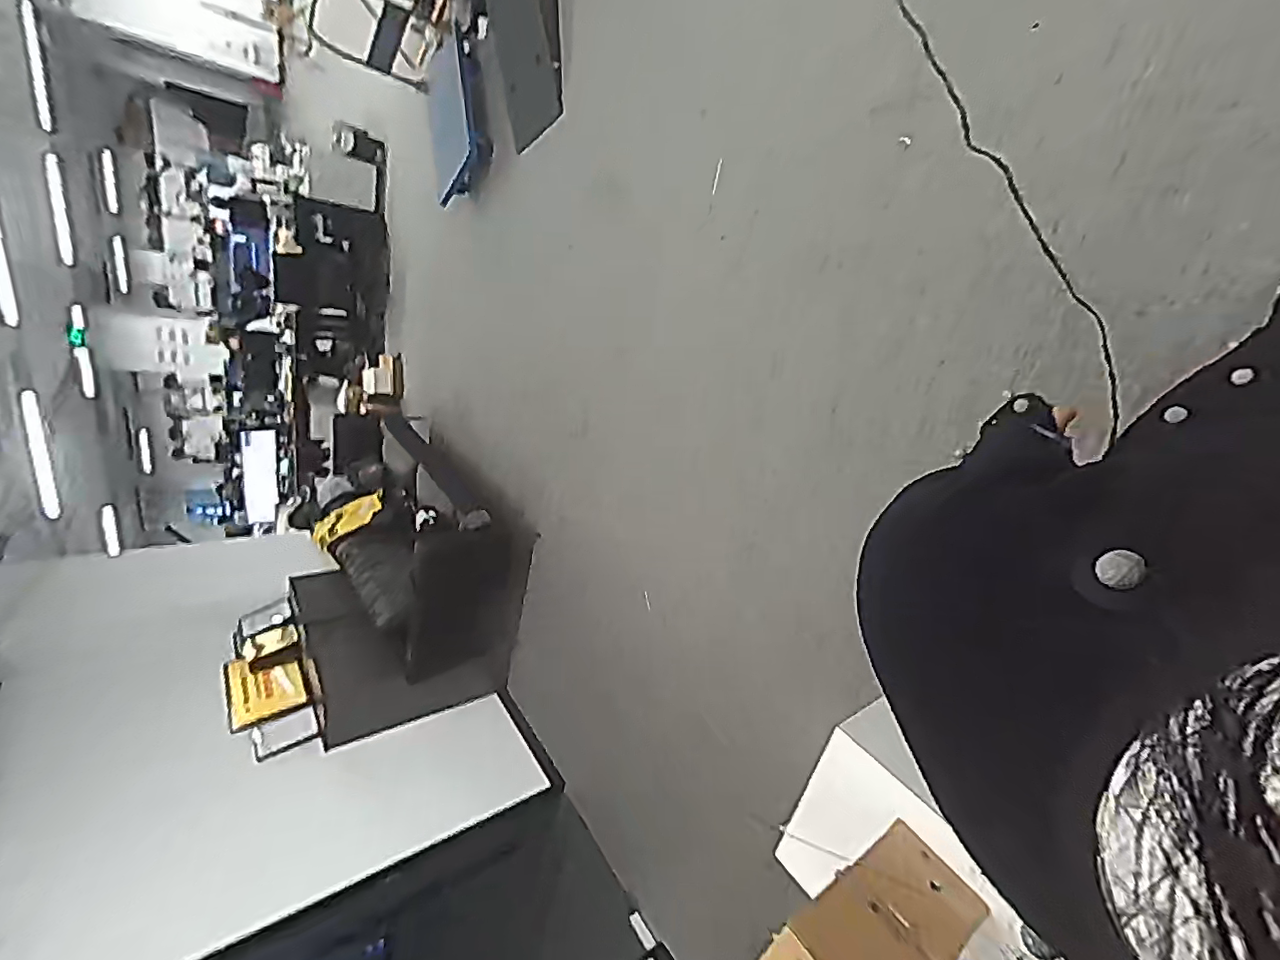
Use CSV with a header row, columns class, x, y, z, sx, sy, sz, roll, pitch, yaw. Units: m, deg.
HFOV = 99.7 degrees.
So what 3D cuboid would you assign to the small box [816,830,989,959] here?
class,x,y,z,sx,sy,sz,roll,pitch,yaw
small box,0.428,0.729,0.883,0.168,0.176,0.179,39,123,42
